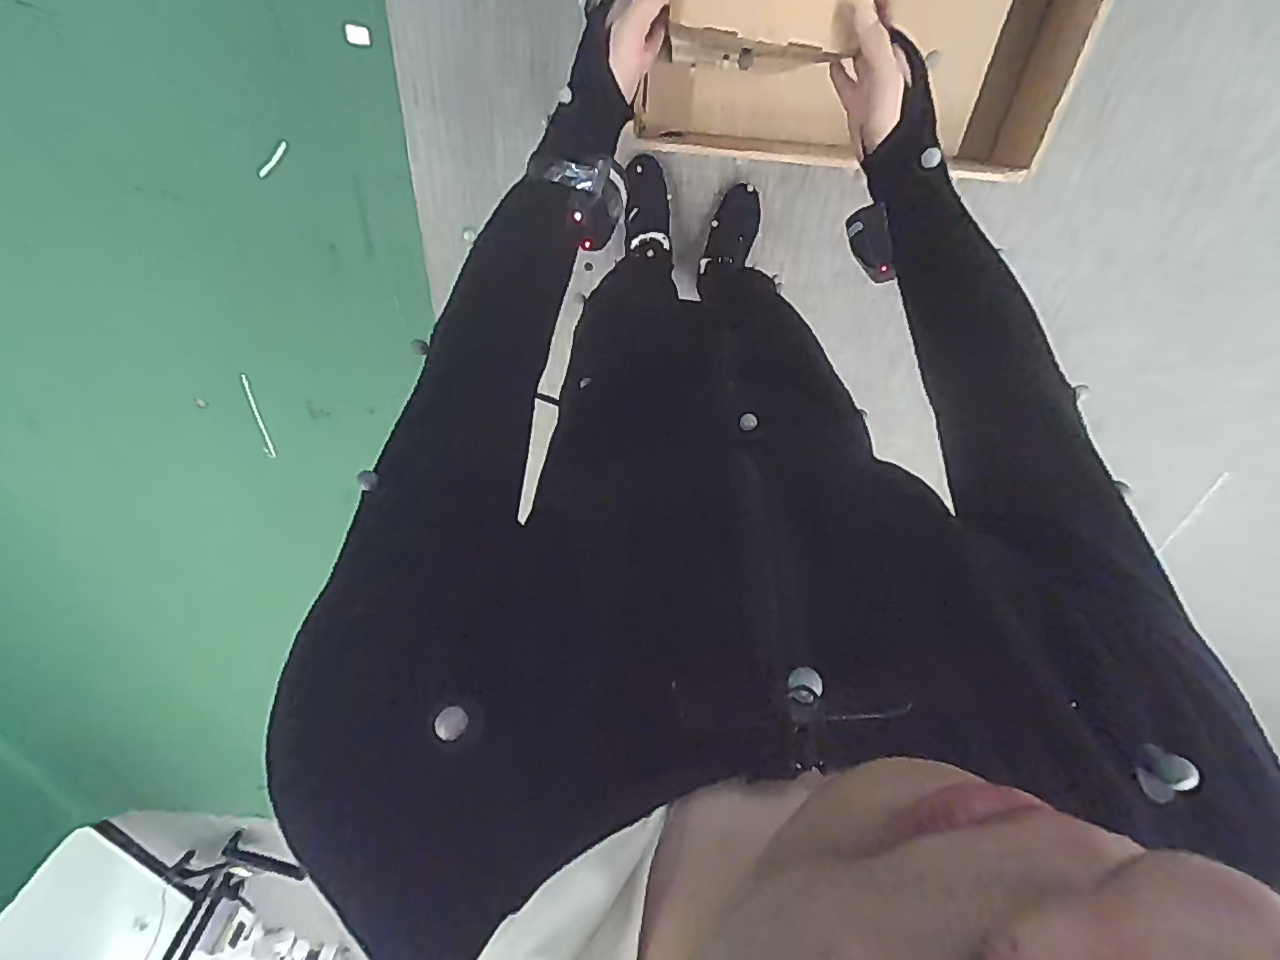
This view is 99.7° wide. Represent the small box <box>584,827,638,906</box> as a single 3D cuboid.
[{"bbox_3d":[-0.094,1.294,1.811,0.168,0.176,0.179,2,125,1],"label":"small box"}]

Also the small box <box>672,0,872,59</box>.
[{"bbox_3d":[0.122,-0.495,0.472,0.168,0.176,0.179,9,126,-2],"label":"small box"}]

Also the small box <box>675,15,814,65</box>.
[{"bbox_3d":[0.131,-0.589,0.607,0.168,0.176,0.179,7,125,-1],"label":"small box"}]
